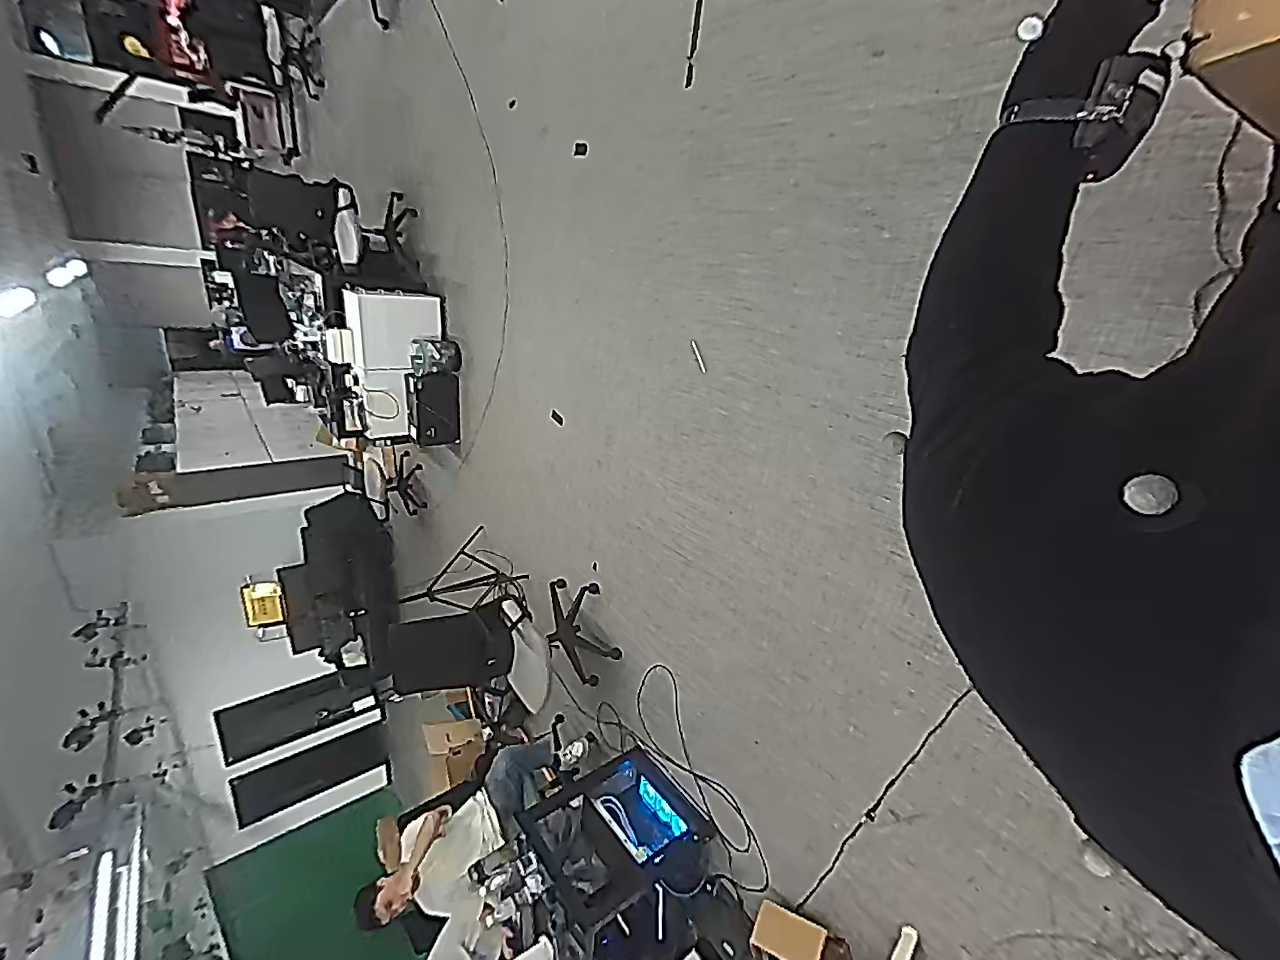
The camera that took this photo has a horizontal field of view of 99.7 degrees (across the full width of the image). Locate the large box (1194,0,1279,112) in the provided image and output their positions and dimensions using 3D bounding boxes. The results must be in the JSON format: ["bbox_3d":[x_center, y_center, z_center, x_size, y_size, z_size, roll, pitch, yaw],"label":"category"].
[{"bbox_3d":[0.597,-0.424,0.242,0.408,0.320,0.320,17,112,58],"label":"large box"}]
